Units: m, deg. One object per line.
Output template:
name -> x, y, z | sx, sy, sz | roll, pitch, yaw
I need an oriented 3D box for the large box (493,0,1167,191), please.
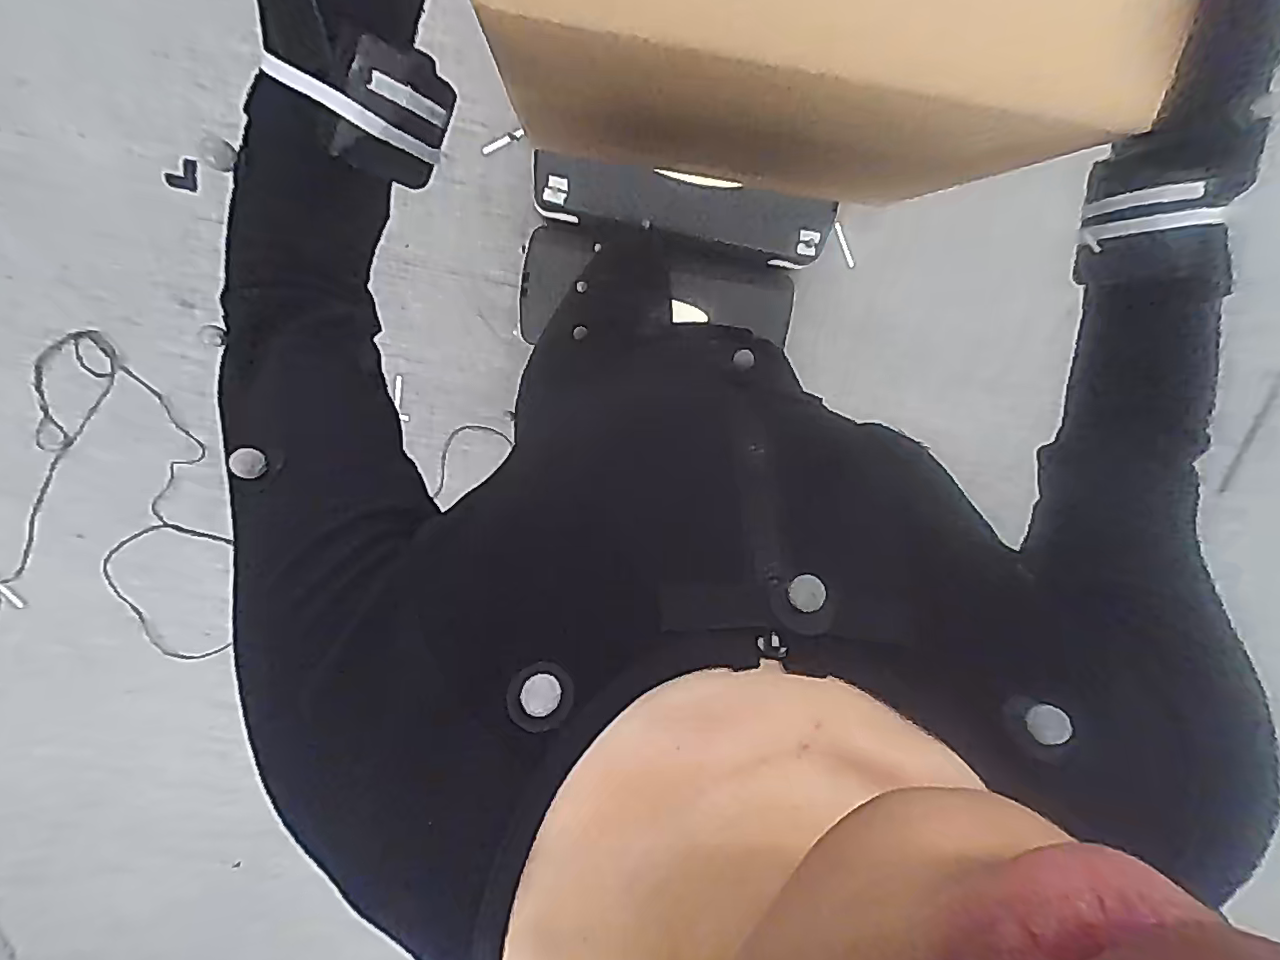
large box -> 0.110, -0.436, 0.406 | 0.408, 0.320, 0.320 | 4, 110, -8

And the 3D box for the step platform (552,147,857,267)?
step platform -> 0.143, -0.694, 1.237 | 0.684, 0.204, 0.286 | 8, 107, -7
